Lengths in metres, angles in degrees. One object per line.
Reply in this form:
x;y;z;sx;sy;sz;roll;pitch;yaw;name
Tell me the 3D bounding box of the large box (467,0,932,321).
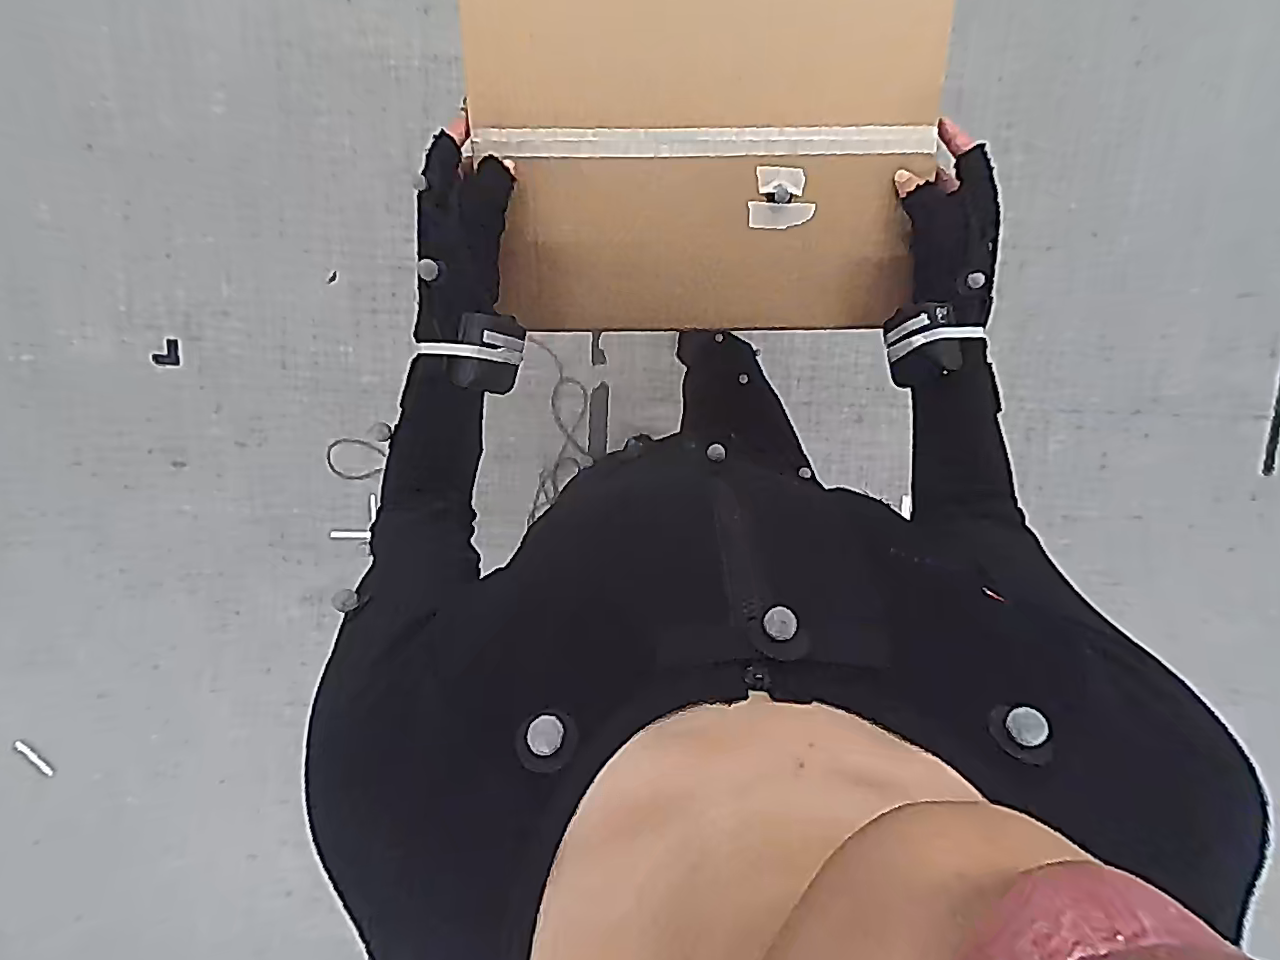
0.049;-0.353;0.629;0.408;0.320;0.320;-2;107;-2;large box
